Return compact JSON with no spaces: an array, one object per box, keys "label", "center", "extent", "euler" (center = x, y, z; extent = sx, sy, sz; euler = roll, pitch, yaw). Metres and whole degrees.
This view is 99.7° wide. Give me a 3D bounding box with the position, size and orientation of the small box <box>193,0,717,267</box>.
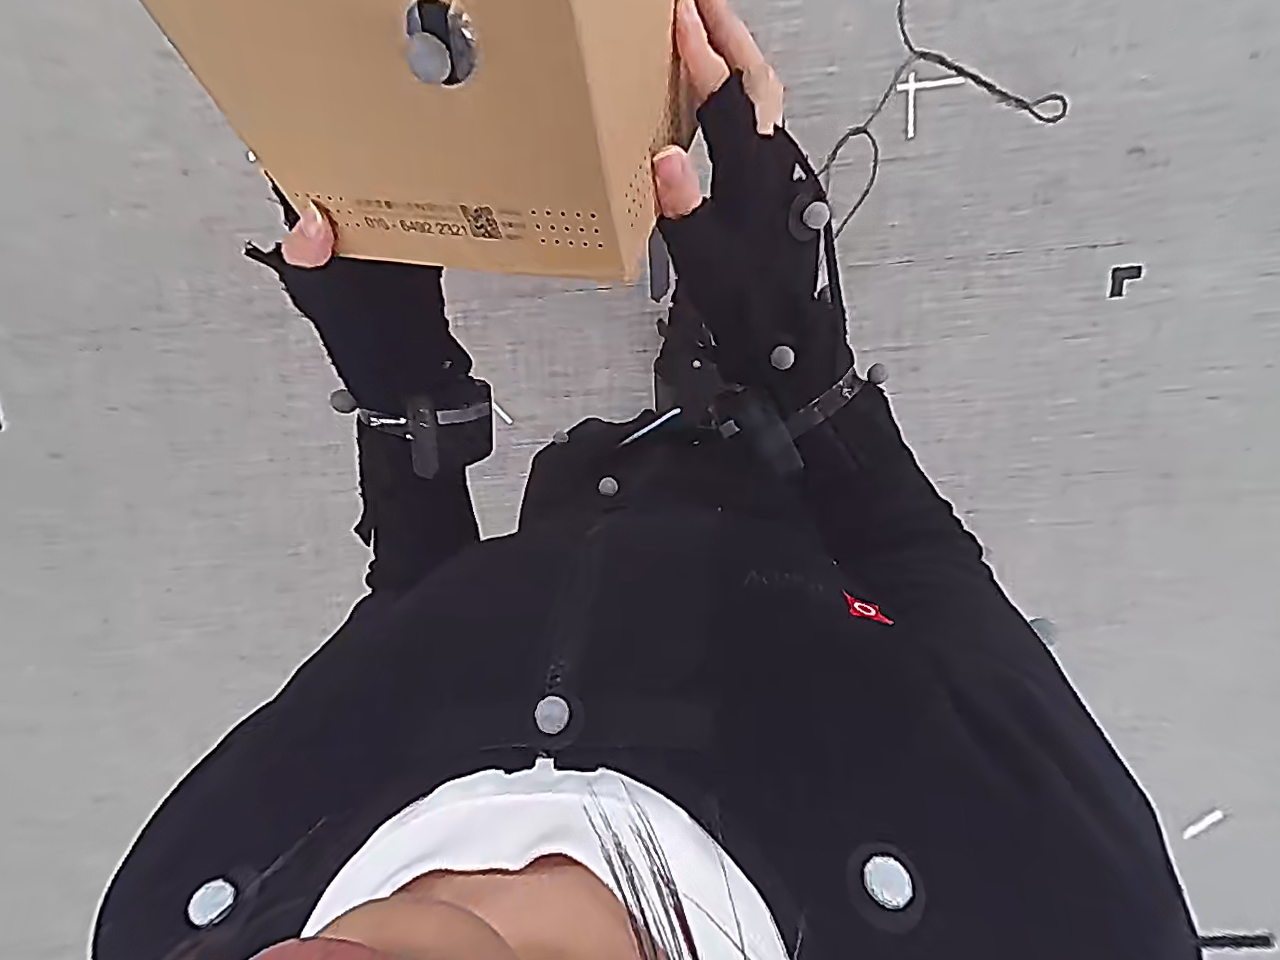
[{"label":"small box","center":[-0.064,-0.220,0.237],"extent":[0.168,0.176,0.179],"euler":[13,63,16]}]
